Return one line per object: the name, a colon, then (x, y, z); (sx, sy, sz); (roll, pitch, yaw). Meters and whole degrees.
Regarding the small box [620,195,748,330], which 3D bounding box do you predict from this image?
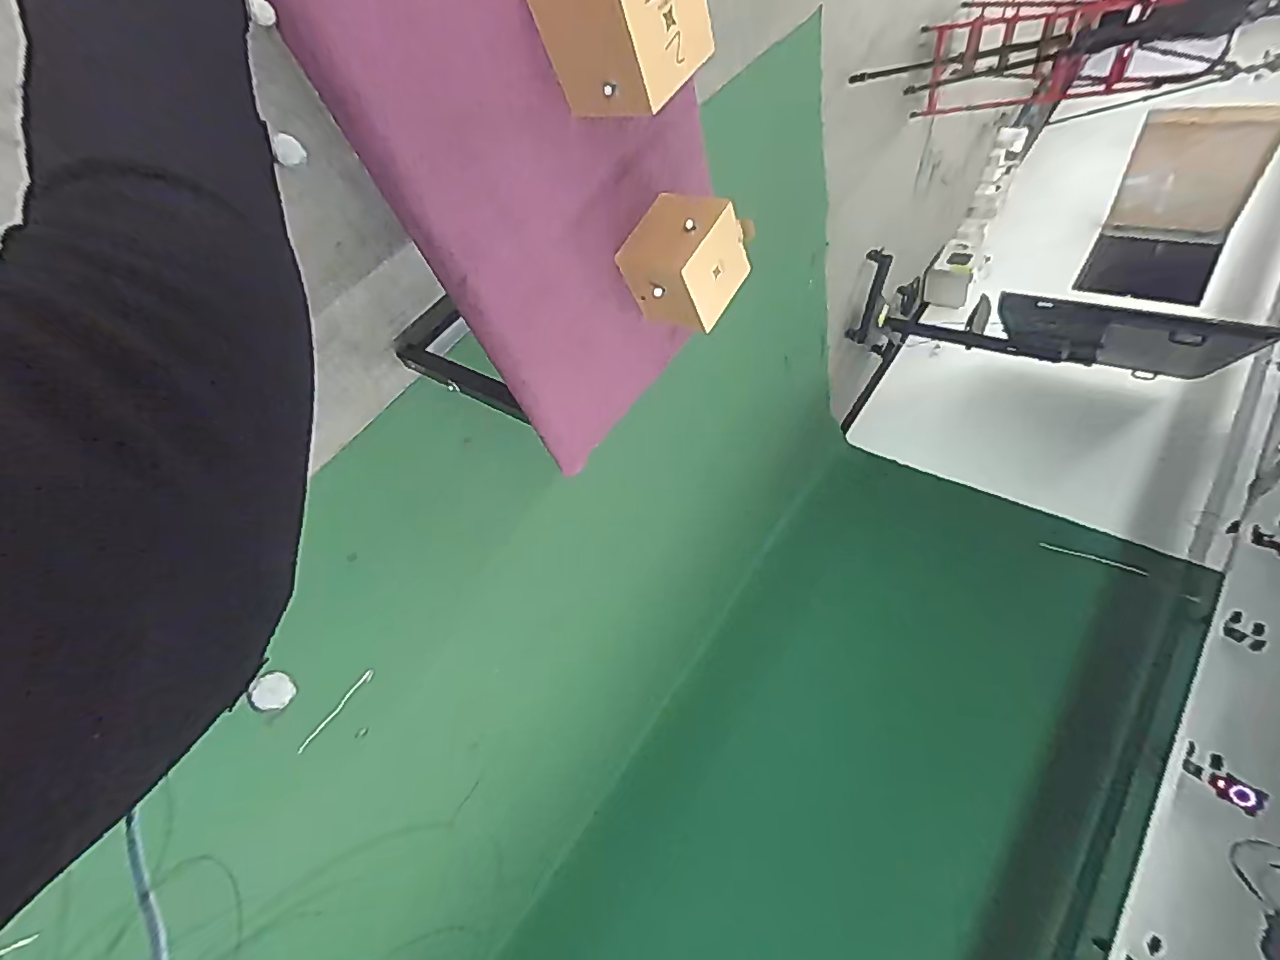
small box: (0.081, -0.427, 1.057); (0.179, 0.176, 0.168); (-57, 146, -12)
